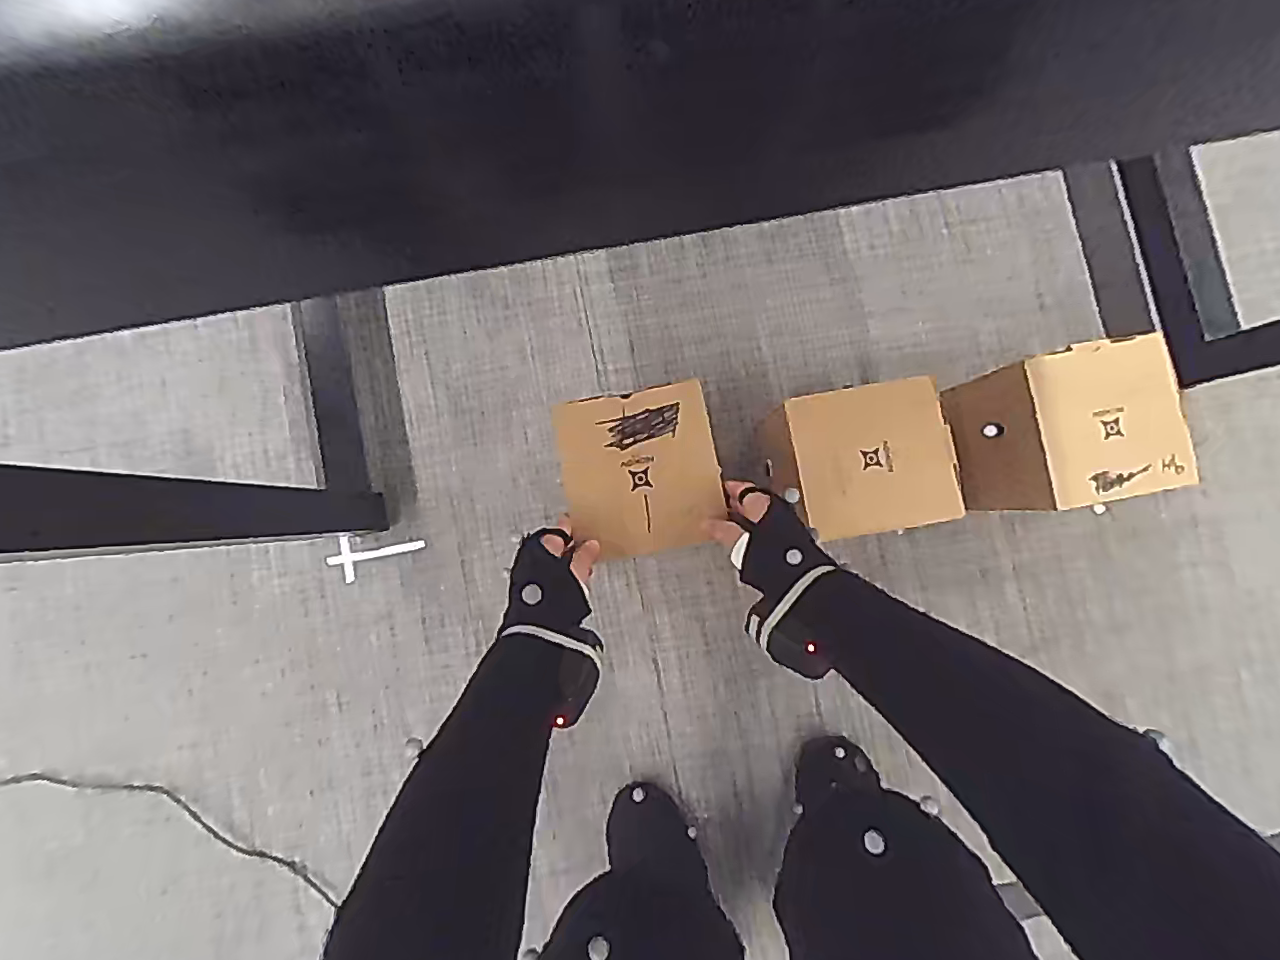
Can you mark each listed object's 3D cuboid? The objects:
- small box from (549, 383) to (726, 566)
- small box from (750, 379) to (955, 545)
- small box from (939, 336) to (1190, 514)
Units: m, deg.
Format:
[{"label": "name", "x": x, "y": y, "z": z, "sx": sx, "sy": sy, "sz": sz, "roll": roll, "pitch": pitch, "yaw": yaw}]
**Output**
[{"label": "small box", "x": -0.004, "y": 0.002, "z": 0.652, "sx": 0.168, "sy": 0.176, "sz": 0.179, "roll": -11, "pitch": 83, "yaw": 0}, {"label": "small box", "x": 0.252, "y": -0.017, "z": 0.680, "sx": 0.179, "sy": 0.176, "sz": 0.168, "roll": -10, "pitch": 86, "yaw": 0}, {"label": "small box", "x": 0.511, "y": -0.058, "z": 0.682, "sx": 0.168, "sy": 0.176, "sz": 0.179, "roll": -11, "pitch": 85, "yaw": 0}]
